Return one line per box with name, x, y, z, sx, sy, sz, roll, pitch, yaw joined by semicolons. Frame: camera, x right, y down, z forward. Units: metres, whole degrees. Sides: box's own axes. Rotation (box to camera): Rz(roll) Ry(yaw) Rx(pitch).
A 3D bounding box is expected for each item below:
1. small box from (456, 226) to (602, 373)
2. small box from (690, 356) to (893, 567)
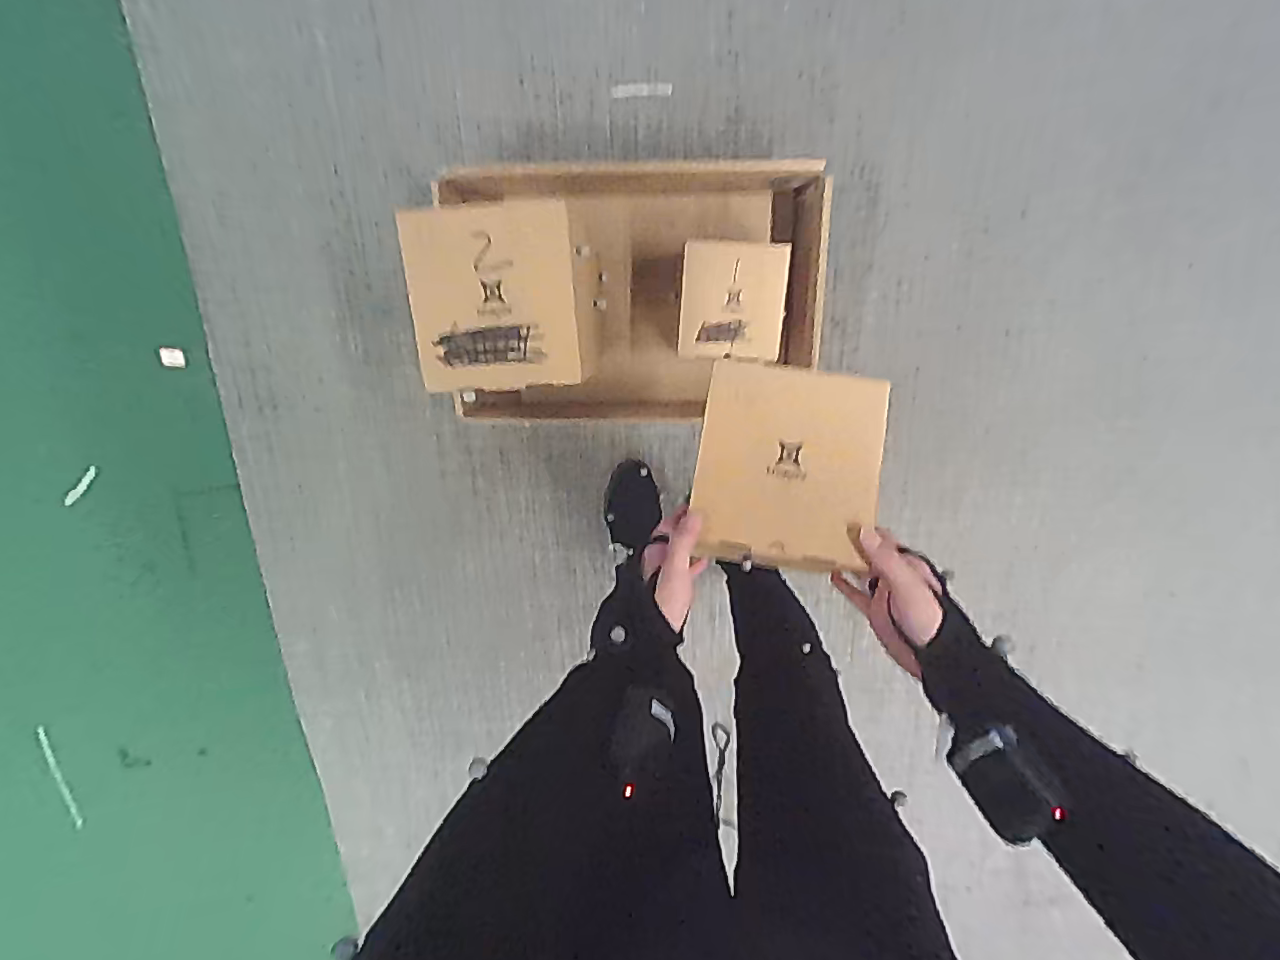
small box;-0.144;-0.248;0.766;0.168;0.176;0.179;-3;106;1
small box;0.145;-0.008;0.571;0.168;0.176;0.179;9;82;6
